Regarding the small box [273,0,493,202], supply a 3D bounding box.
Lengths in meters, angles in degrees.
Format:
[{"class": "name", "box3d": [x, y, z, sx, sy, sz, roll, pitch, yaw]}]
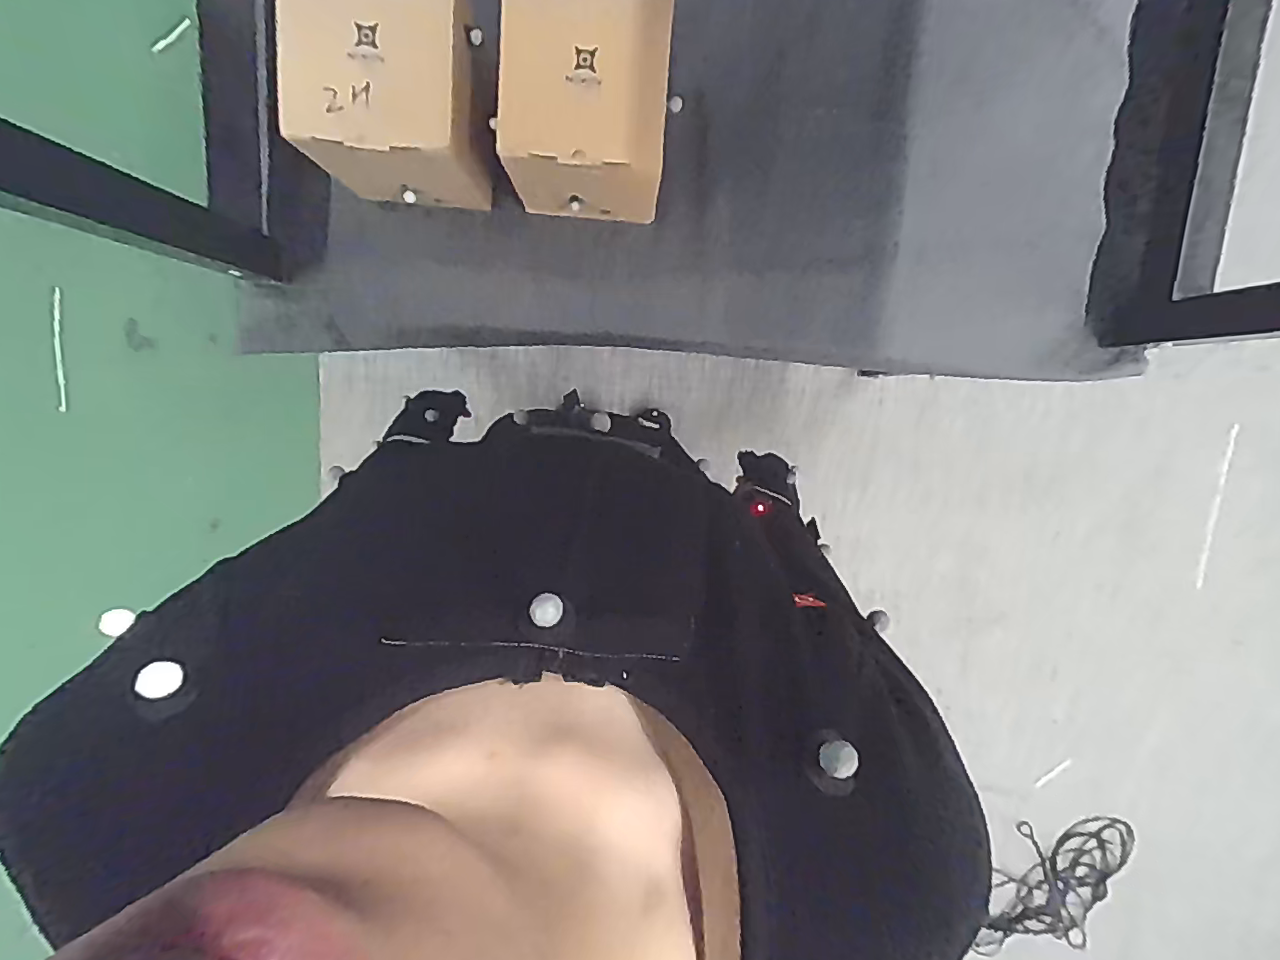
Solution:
[{"class": "small box", "box3d": [-0.262, -0.430, 0.585, 0.168, 0.176, 0.179, 4, 99, -2]}]
